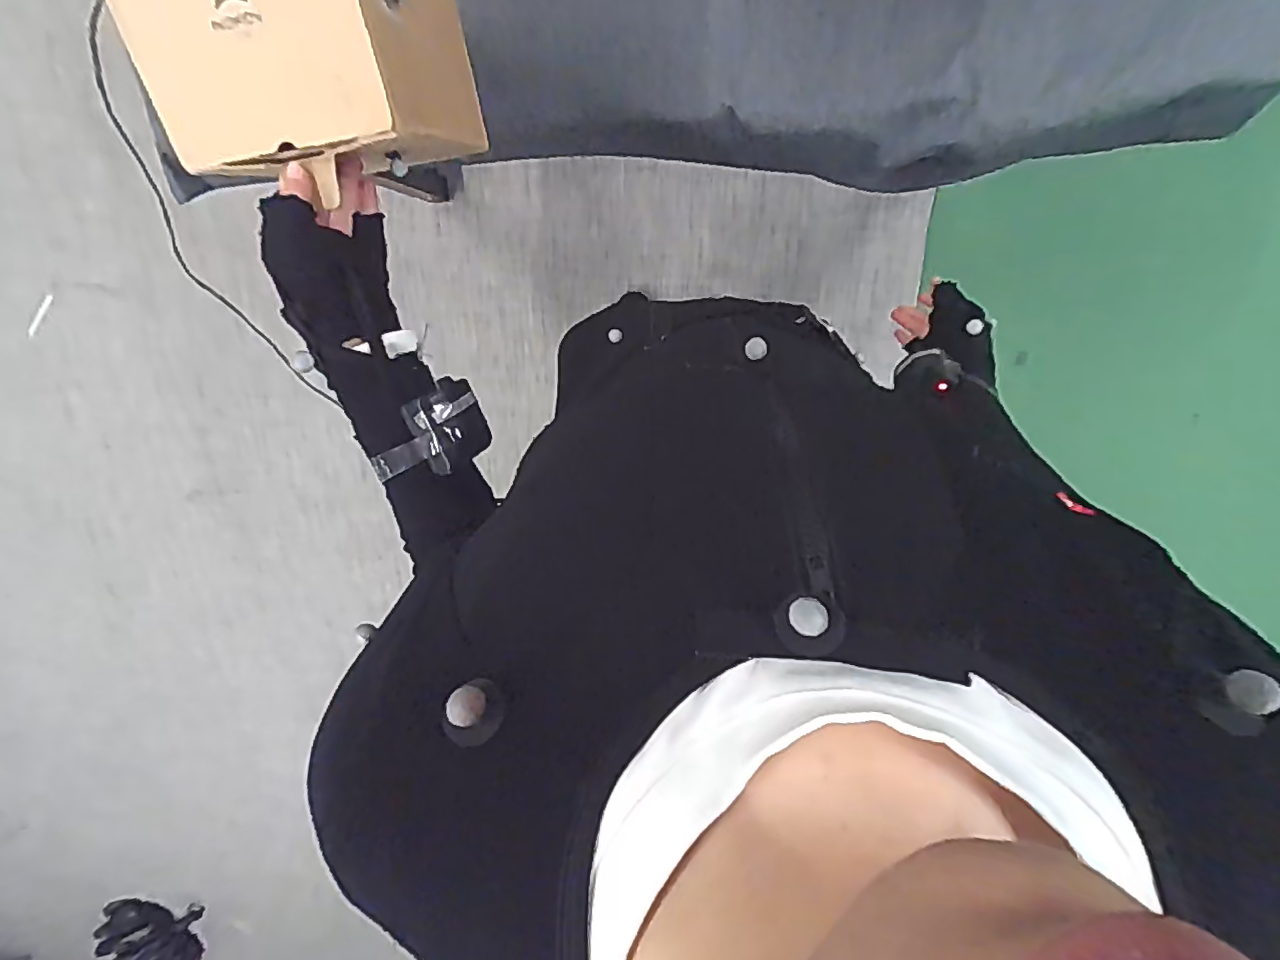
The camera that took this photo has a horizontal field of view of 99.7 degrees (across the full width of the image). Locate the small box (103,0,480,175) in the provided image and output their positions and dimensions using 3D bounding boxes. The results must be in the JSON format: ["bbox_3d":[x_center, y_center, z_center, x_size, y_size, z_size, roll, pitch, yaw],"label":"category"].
[{"bbox_3d":[-0.237,-0.331,0.391,0.168,0.176,0.179,-5,117,9],"label":"small box"}]
